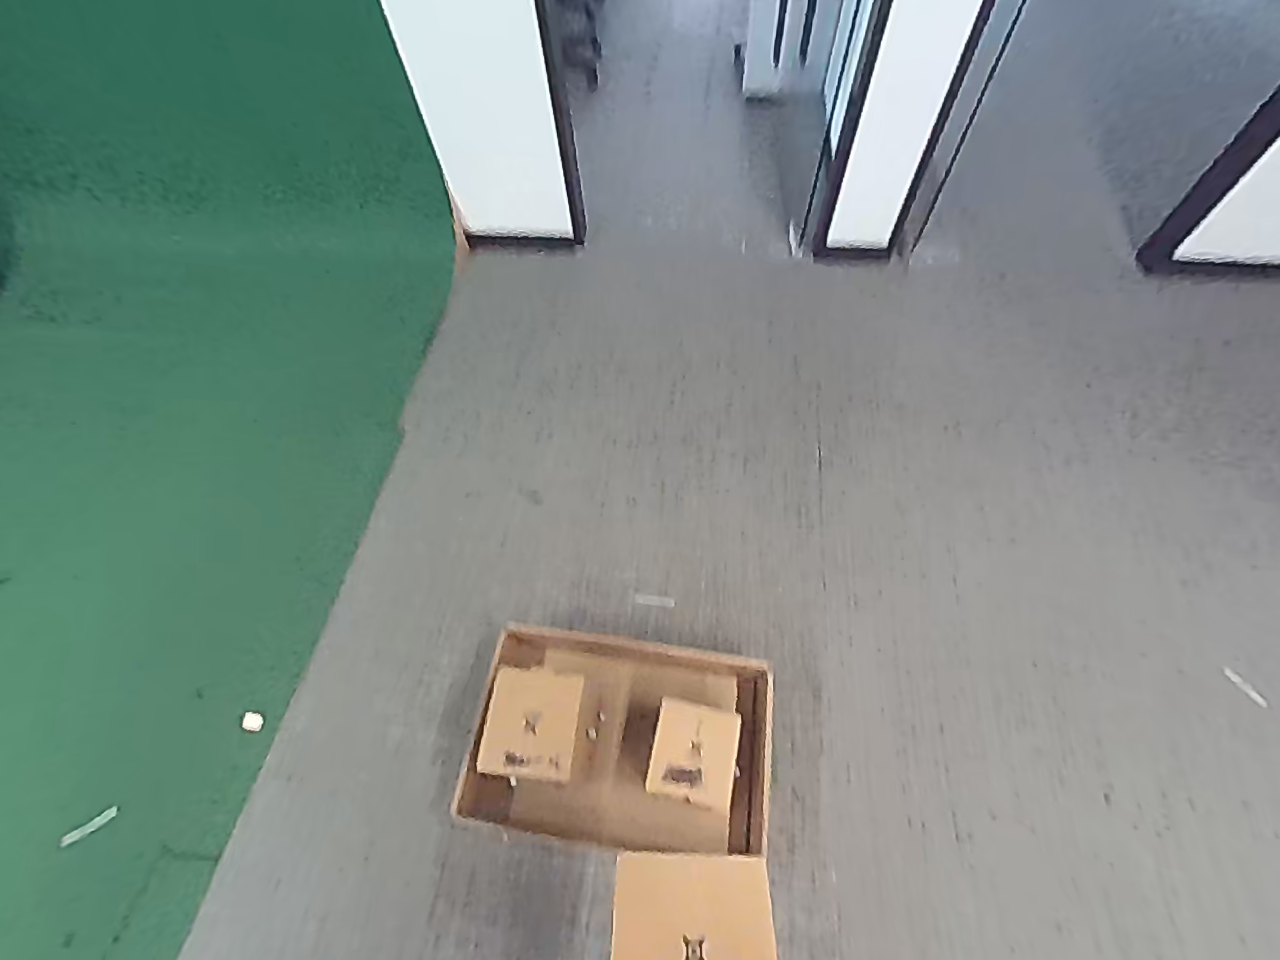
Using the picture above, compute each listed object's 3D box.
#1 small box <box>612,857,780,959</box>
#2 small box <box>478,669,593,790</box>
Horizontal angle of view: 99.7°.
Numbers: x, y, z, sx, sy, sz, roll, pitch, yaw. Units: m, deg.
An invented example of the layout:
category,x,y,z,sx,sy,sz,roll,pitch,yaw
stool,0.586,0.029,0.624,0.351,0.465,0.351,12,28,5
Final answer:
category,x,y,z,sx,sy,sz,roll,pitch,yaw
small box,0.052,0.526,0.566,0.168,0.176,0.179,1,40,1
small box,-0.186,0.477,1.027,0.168,0.176,0.179,5,59,5
